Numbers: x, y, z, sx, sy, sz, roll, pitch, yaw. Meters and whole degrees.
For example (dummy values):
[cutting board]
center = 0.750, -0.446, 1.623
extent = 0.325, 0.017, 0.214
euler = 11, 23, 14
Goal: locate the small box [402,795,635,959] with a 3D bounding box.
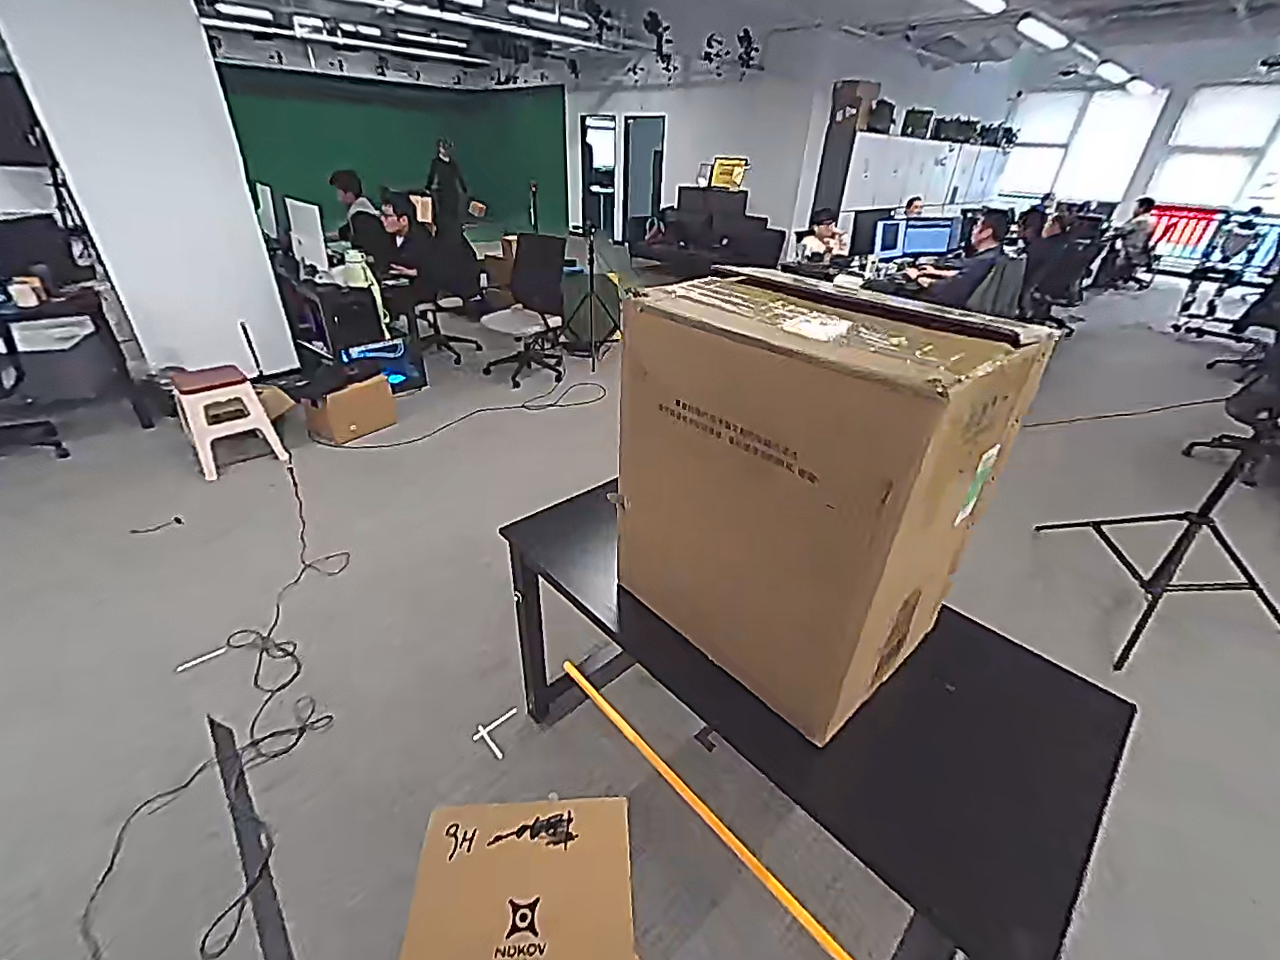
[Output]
[small box]
center = -0.089, 0.385, 0.442
extent = 0.168, 0.176, 0.179
euler = 0, 41, -6
